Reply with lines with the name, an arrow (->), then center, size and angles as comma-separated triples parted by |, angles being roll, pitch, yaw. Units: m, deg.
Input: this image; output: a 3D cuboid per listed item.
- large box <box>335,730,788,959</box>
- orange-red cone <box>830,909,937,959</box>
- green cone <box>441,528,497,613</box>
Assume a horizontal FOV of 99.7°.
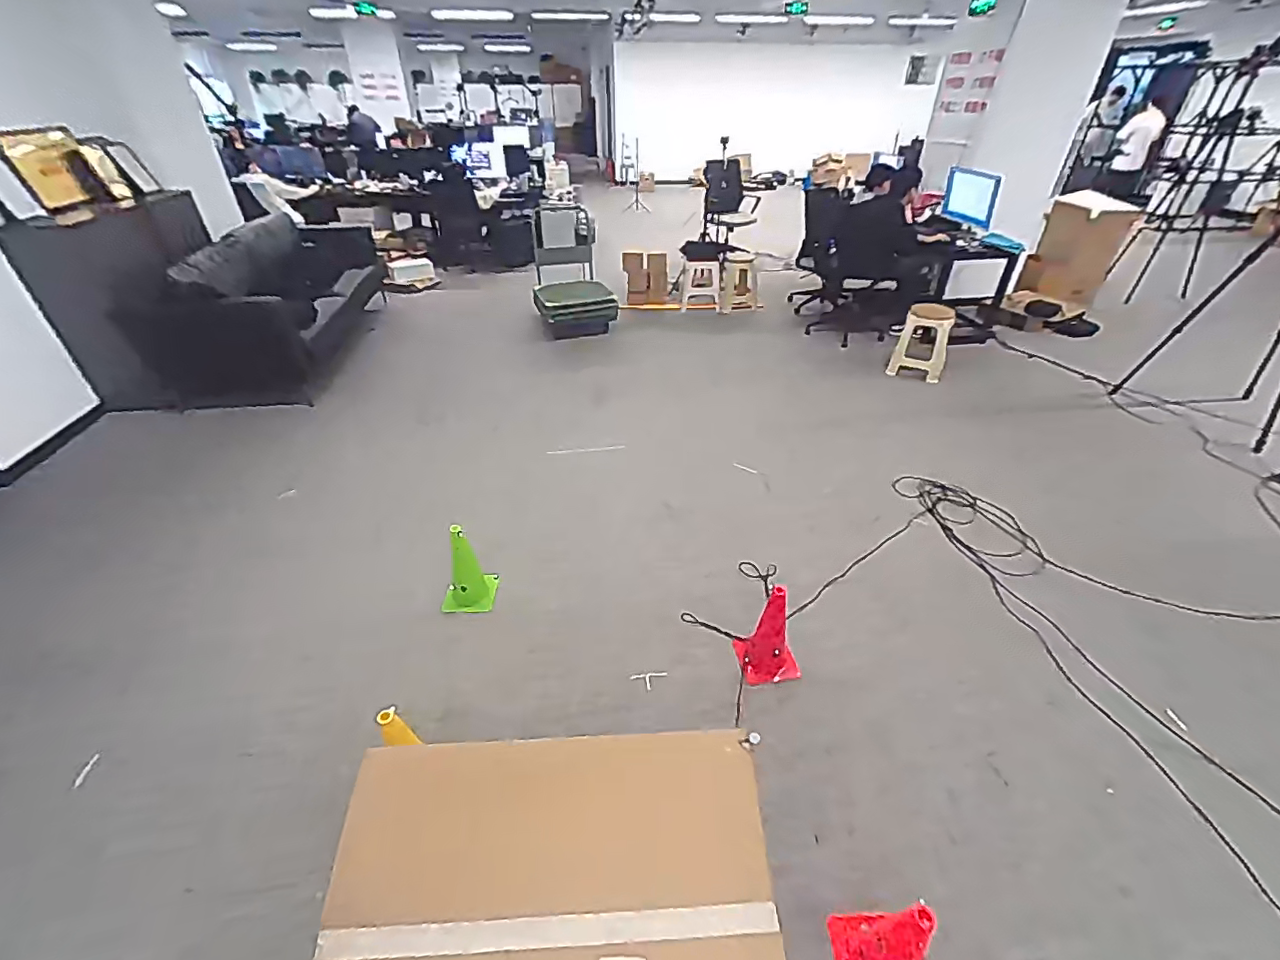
large box -> -0.072, 0.495, 0.601 | 0.408, 0.320, 0.320 | -3, 53, -2
orange-red cone -> 0.566, 1.007, 1.170 | 0.199, 0.360, 0.198 | 1, 37, -1
green cone -> -0.702, 0.331, 2.120 | 0.200, 0.368, 0.202 | -1, 37, -1
